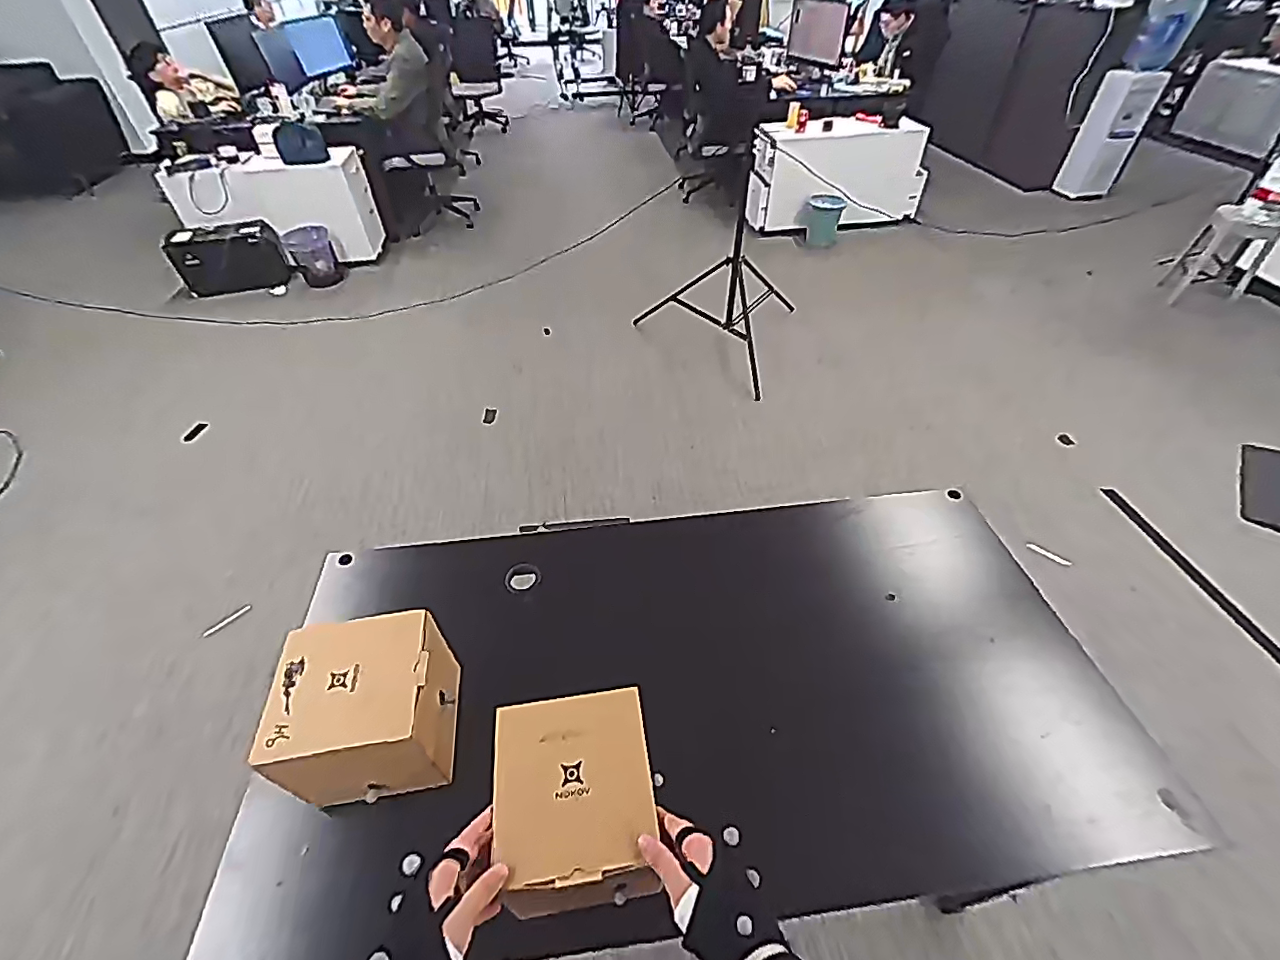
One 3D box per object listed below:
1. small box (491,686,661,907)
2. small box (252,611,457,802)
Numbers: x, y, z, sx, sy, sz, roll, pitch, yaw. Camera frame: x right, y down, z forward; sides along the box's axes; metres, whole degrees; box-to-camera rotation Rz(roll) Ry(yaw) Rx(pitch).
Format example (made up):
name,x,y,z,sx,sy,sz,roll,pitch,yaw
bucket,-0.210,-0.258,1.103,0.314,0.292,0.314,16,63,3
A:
name,x,y,z,sx,sy,sz,roll,pitch,yaw
small box,-0.070,0.368,0.625,0.168,0.176,0.179,-6,44,-7
small box,-0.345,0.294,0.701,0.179,0.176,0.168,-7,45,-7
